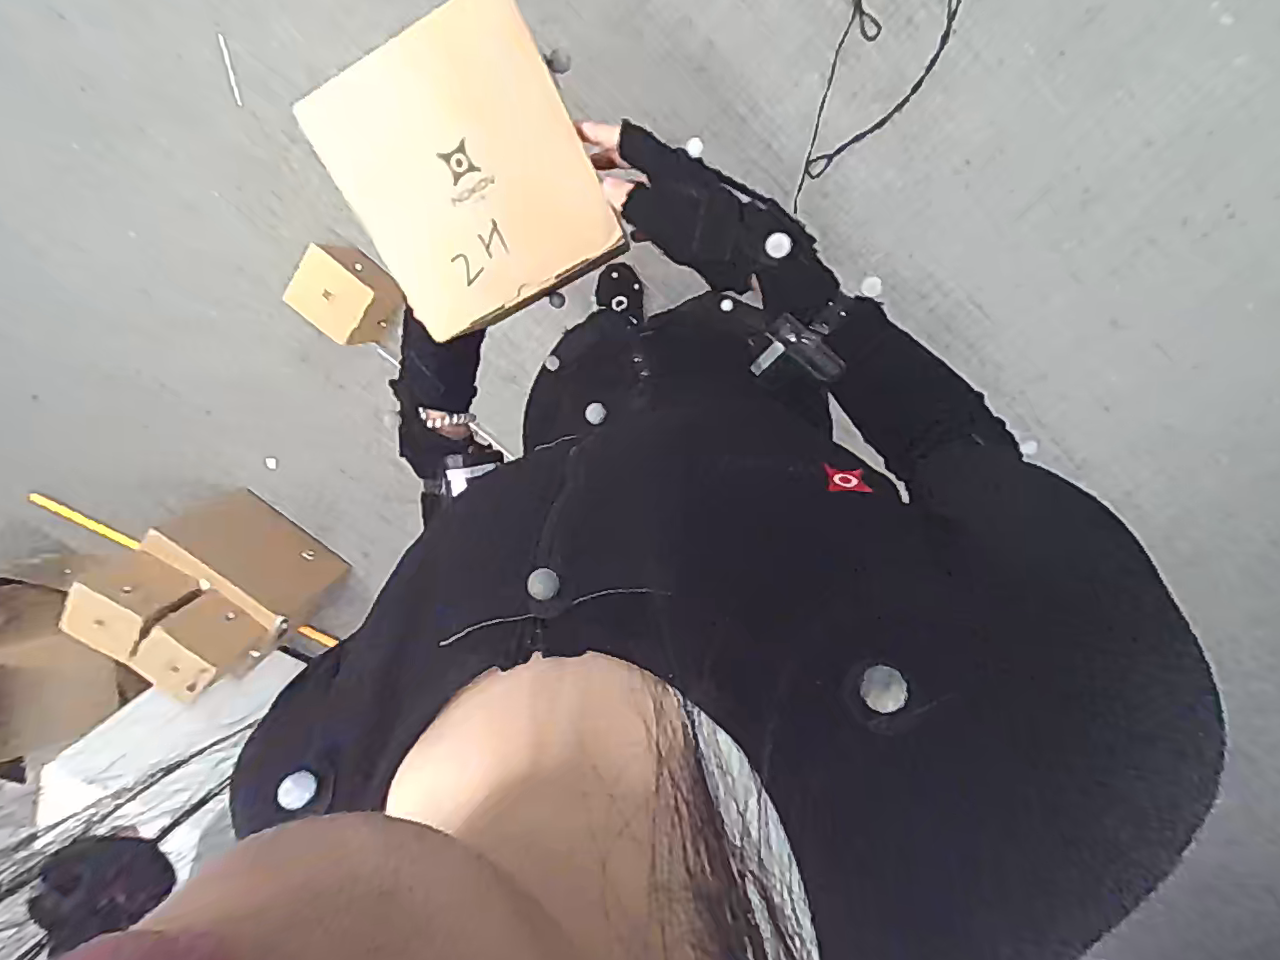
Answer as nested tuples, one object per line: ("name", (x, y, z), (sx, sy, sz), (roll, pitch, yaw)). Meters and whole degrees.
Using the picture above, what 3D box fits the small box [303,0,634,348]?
("small box", (-0.114, -0.230, 0.443), (0.168, 0.176, 0.179), (-24, 110, 10))

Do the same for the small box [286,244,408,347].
("small box", (-0.720, -0.457, 1.348), (0.179, 0.176, 0.168), (39, 109, -9))
